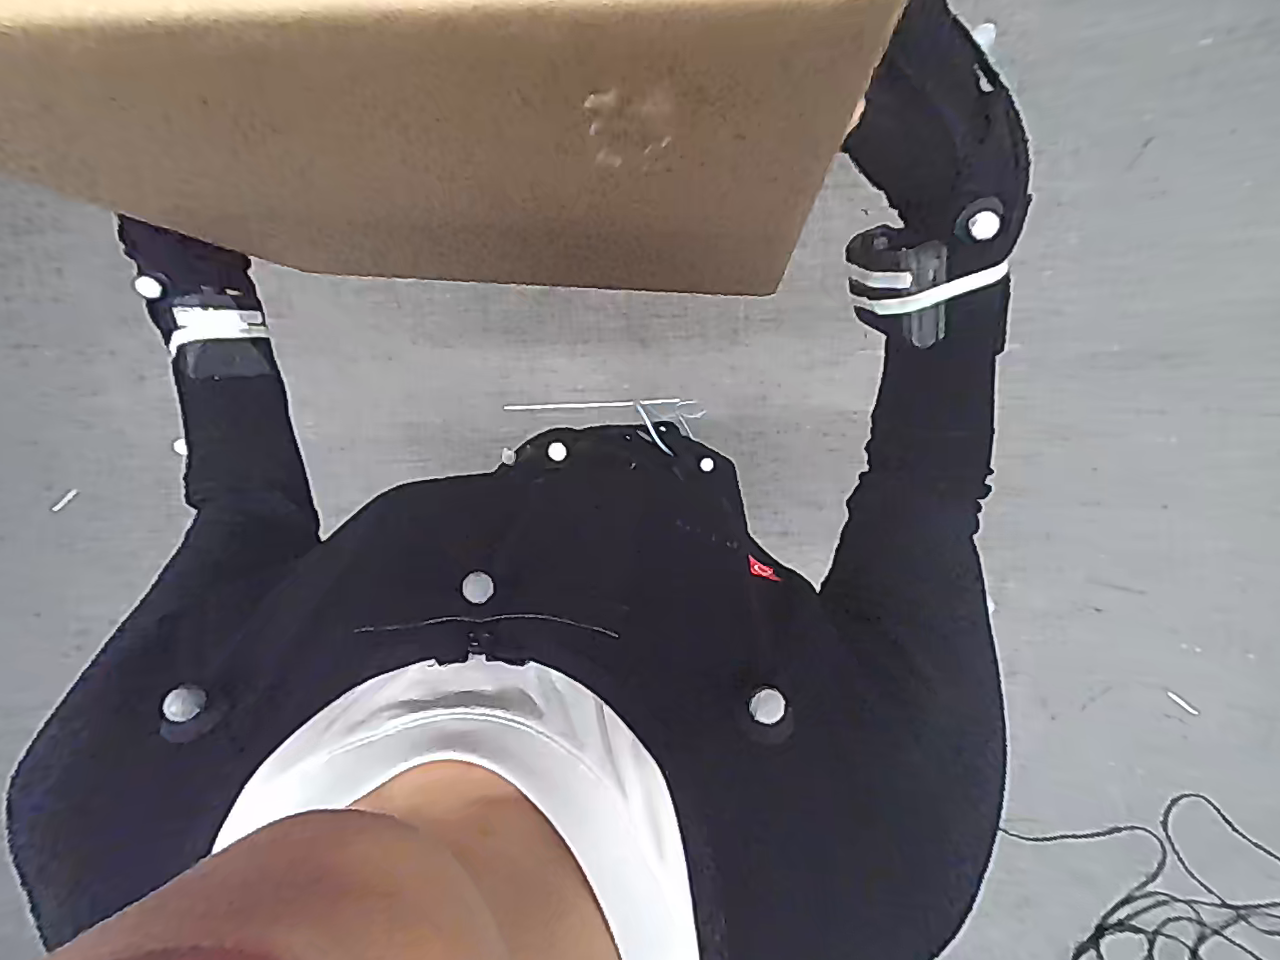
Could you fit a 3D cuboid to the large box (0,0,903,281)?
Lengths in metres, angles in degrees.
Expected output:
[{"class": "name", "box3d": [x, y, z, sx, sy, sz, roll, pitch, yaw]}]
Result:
[{"class": "large box", "box3d": [-0.099, -0.300, 0.274, 0.408, 0.320, 0.320, 6, 99, 7]}]
